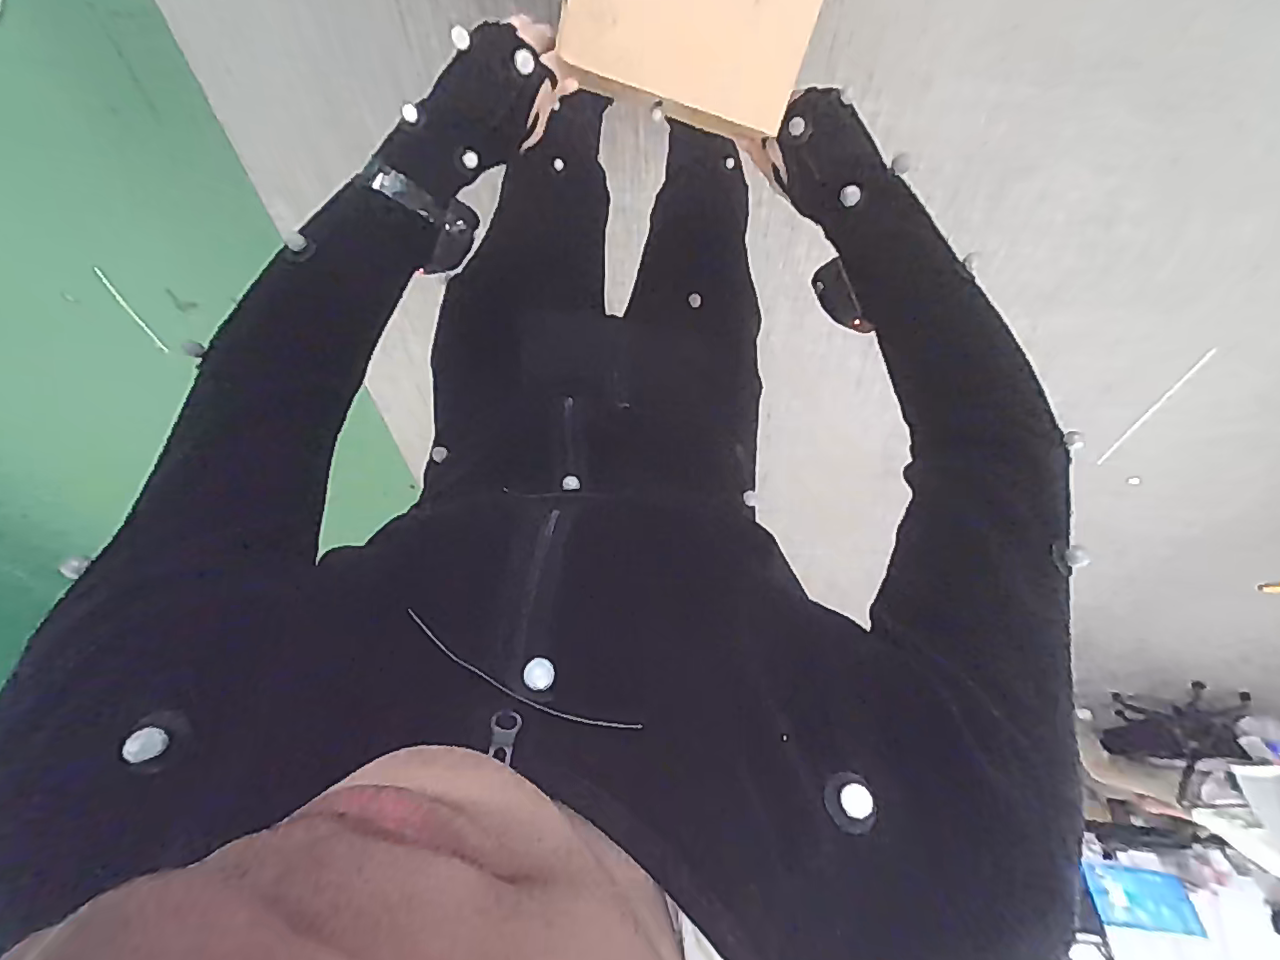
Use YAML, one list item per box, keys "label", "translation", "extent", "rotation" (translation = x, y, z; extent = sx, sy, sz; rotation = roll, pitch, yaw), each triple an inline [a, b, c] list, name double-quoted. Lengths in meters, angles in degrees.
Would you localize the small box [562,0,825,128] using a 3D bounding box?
- label: "small box"
  translation: [0.045, -0.400, 0.433]
  extent: [0.179, 0.176, 0.168]
  rotation: [13, 120, -11]
